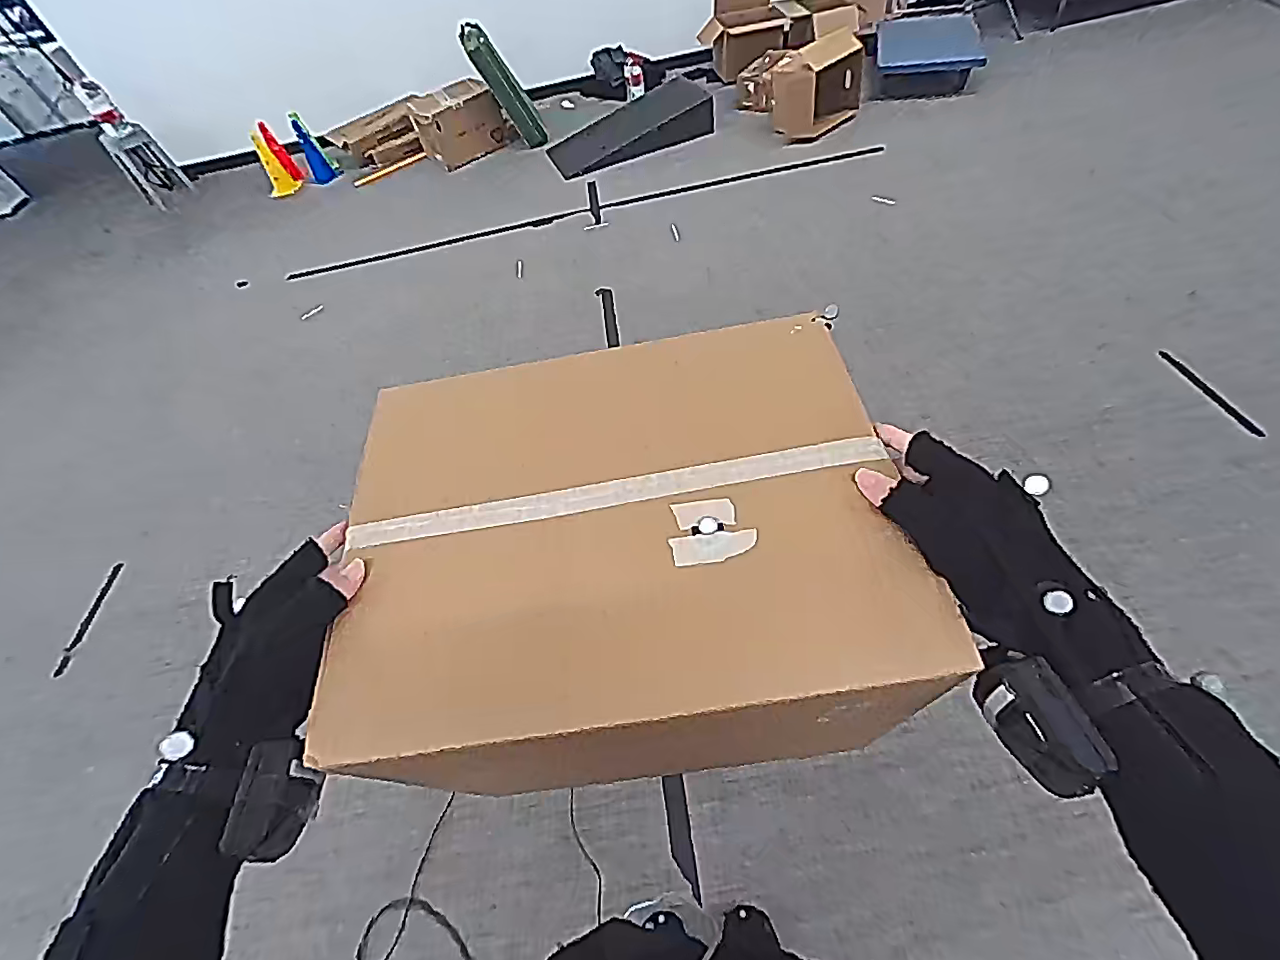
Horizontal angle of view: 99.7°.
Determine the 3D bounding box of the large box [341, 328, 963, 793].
[{"bbox_3d":[0.003,0.099,0.540,0.408,0.320,0.320,-9,56,2],"label":"large box"}]
